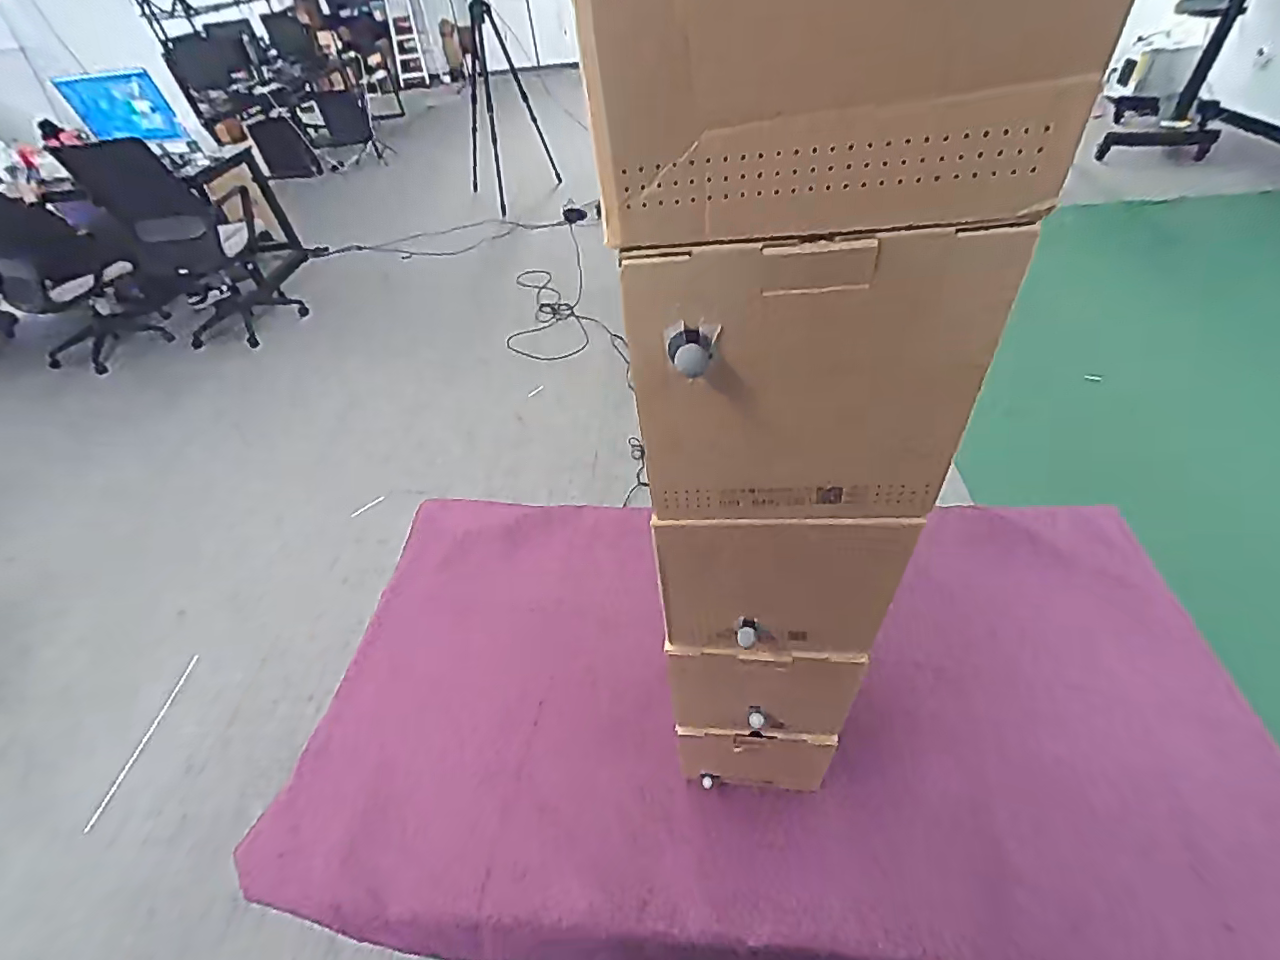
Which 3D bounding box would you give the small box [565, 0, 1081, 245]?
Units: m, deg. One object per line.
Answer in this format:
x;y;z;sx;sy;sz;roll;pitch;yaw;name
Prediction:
0.064;-0.212;0.227;0.179;0.176;0.168;0;44;8;small box

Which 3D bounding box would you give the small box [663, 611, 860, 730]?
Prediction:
0.116;0.137;0.565;0.168;0.176;0.179;0;46;9;small box

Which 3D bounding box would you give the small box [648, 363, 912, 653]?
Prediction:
0.101;0.021;0.453;0.168;0.176;0.179;0;46;8;small box

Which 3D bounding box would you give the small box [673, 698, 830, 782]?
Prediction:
0.134;0.257;0.676;0.168;0.176;0.179;0;45;8;small box
